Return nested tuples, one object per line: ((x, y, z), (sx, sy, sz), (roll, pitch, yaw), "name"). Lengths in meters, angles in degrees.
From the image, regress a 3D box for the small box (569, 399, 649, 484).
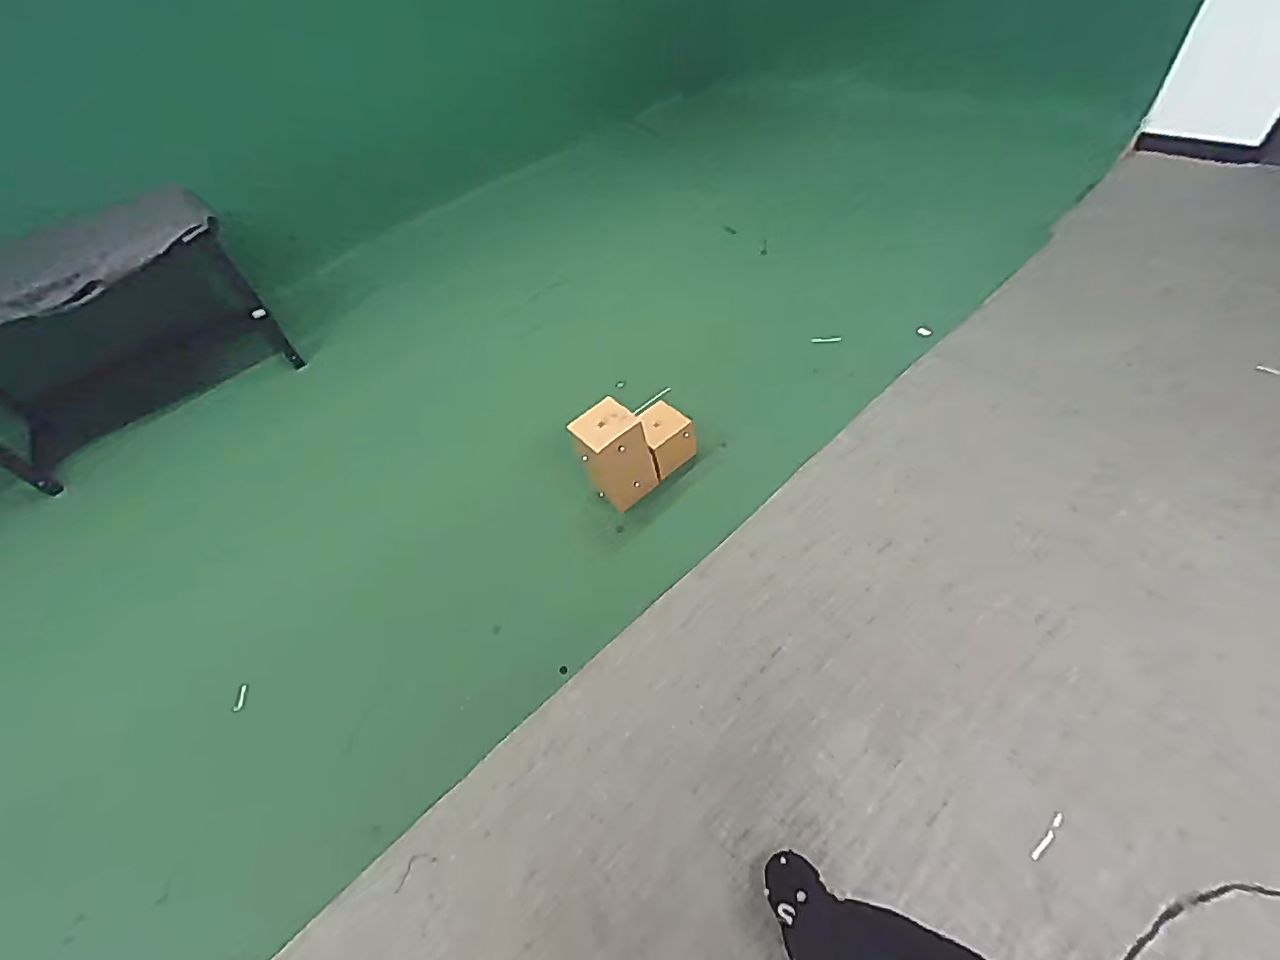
((-0.092, -0.118, 1.716), (0.179, 0.176, 0.168), (-37, 54, -17), "small box")
